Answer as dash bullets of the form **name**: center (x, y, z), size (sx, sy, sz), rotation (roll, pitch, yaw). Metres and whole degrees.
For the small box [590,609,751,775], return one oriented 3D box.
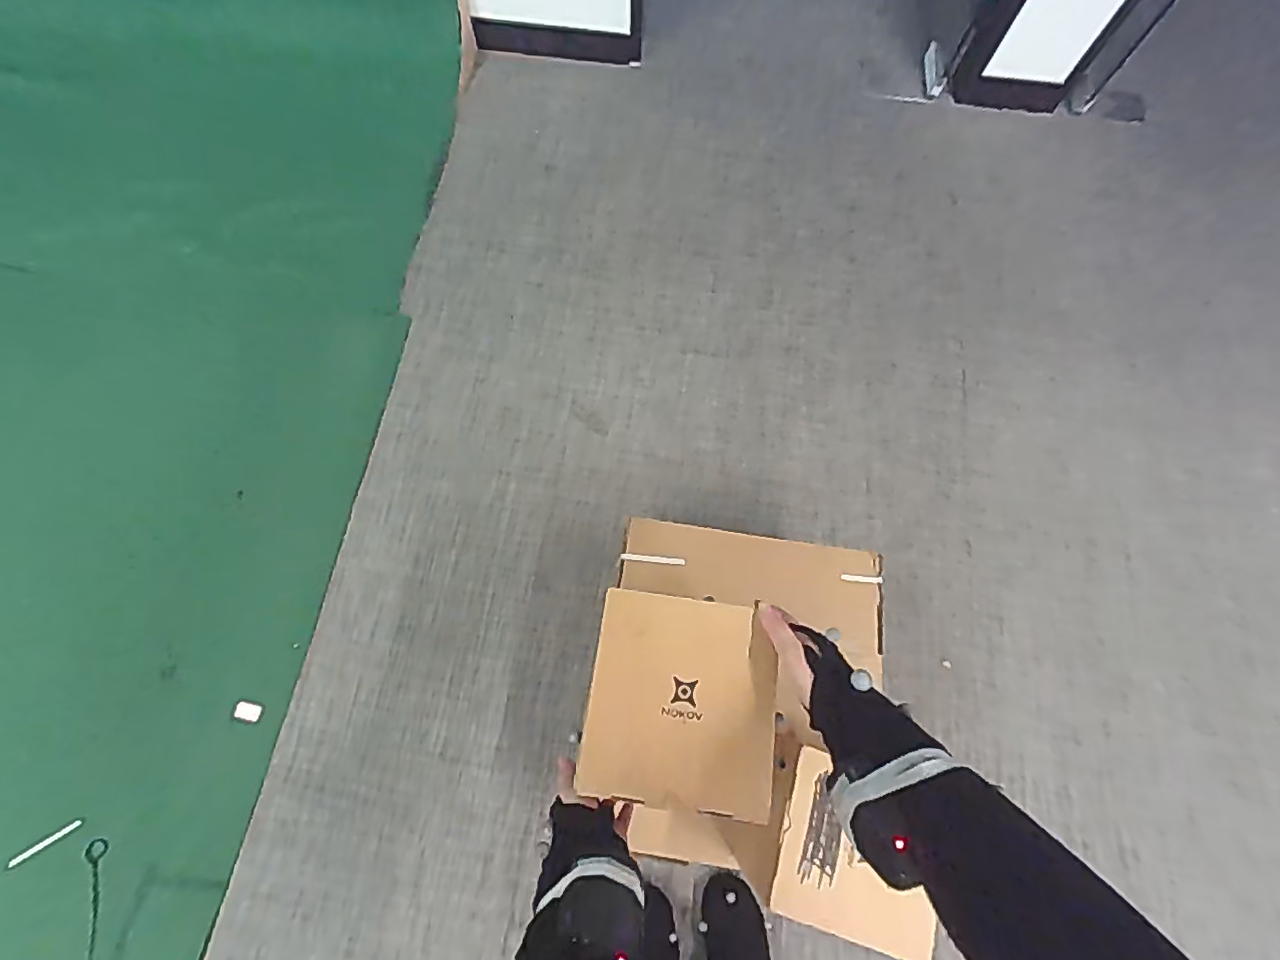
- **small box**: center (0.037, 0.270, 0.707), size (0.179, 0.176, 0.168), rotation (7, 70, 2)
